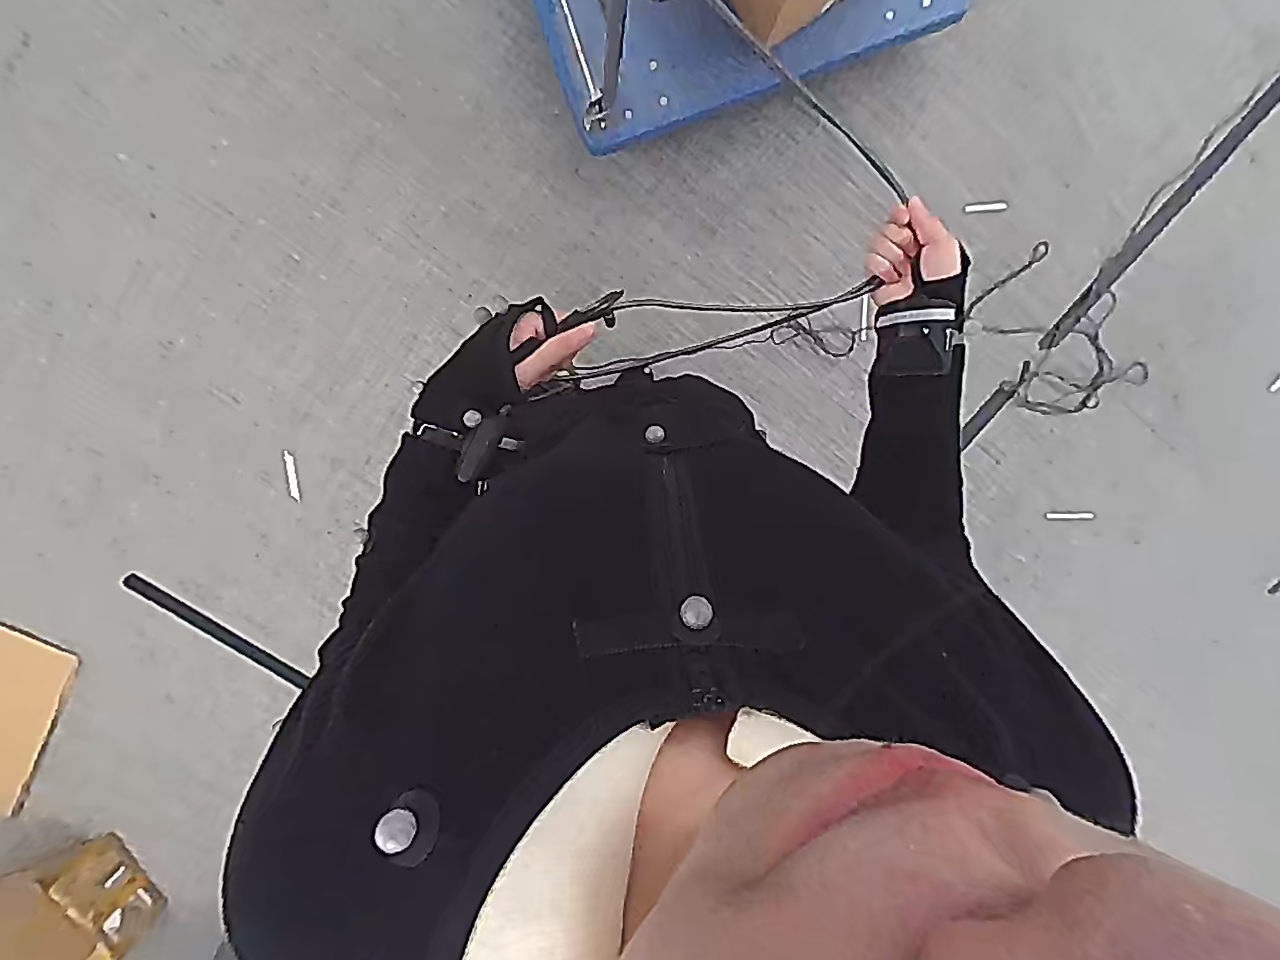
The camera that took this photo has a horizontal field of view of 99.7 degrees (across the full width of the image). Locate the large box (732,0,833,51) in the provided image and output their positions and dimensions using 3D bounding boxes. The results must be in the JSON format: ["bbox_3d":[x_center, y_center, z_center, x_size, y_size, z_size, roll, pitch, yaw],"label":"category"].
[{"bbox_3d":[0.272,-1.094,0.926,0.320,0.320,0.408,-33,103,6],"label":"large box"}]
